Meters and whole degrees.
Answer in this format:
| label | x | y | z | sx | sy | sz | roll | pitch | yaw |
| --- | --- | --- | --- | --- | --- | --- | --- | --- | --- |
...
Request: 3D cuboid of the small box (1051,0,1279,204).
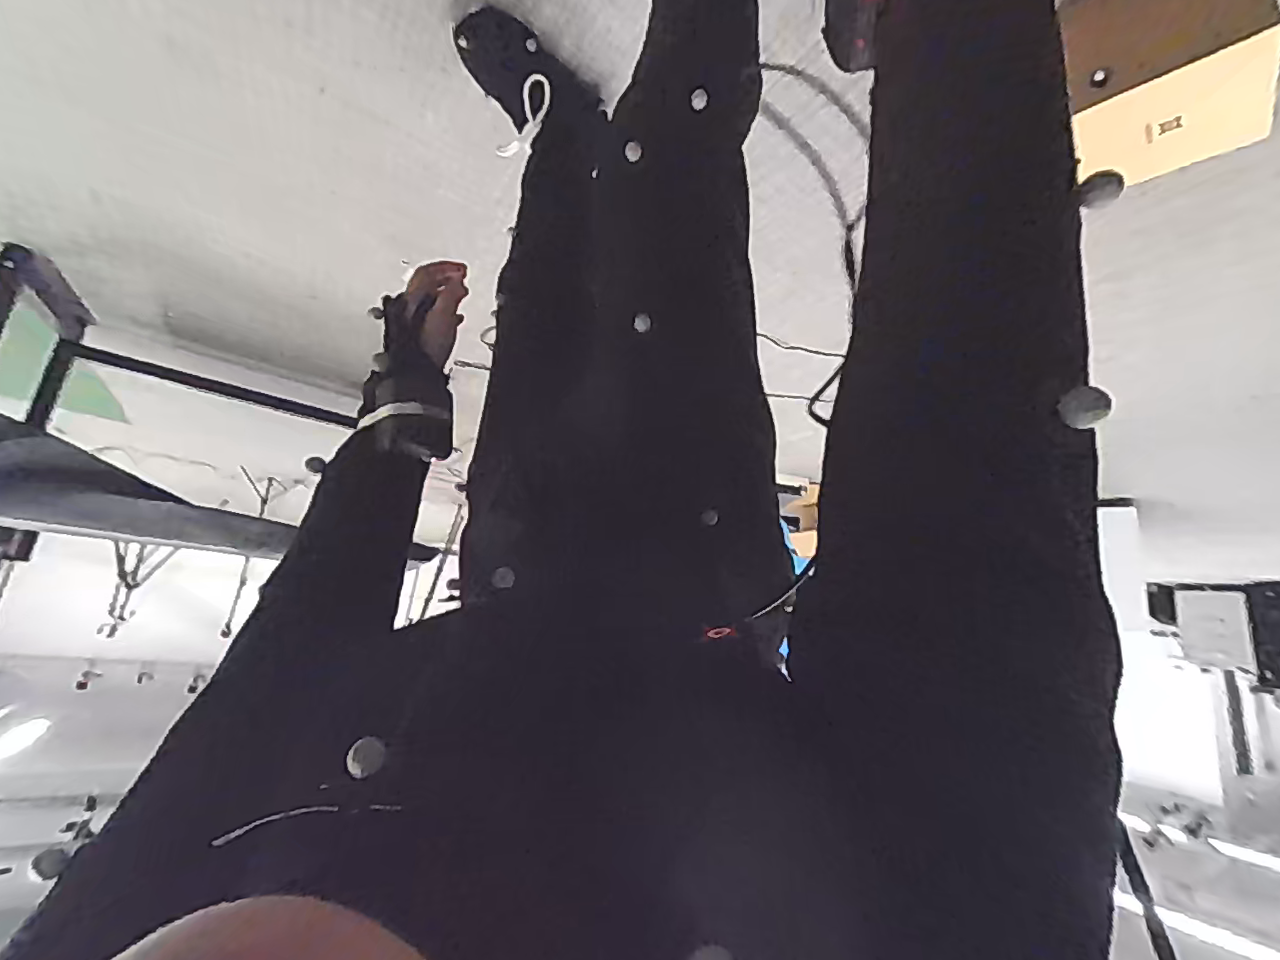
| label | x | y | z | sx | sy | sz | roll | pitch | yaw |
| --- | --- | --- | --- | --- | --- | --- | --- | --- | --- |
| small box | 0.618 | -0.483 | 0.646 | 0.179 | 0.176 | 0.168 | -7 | 161 | 44 |
